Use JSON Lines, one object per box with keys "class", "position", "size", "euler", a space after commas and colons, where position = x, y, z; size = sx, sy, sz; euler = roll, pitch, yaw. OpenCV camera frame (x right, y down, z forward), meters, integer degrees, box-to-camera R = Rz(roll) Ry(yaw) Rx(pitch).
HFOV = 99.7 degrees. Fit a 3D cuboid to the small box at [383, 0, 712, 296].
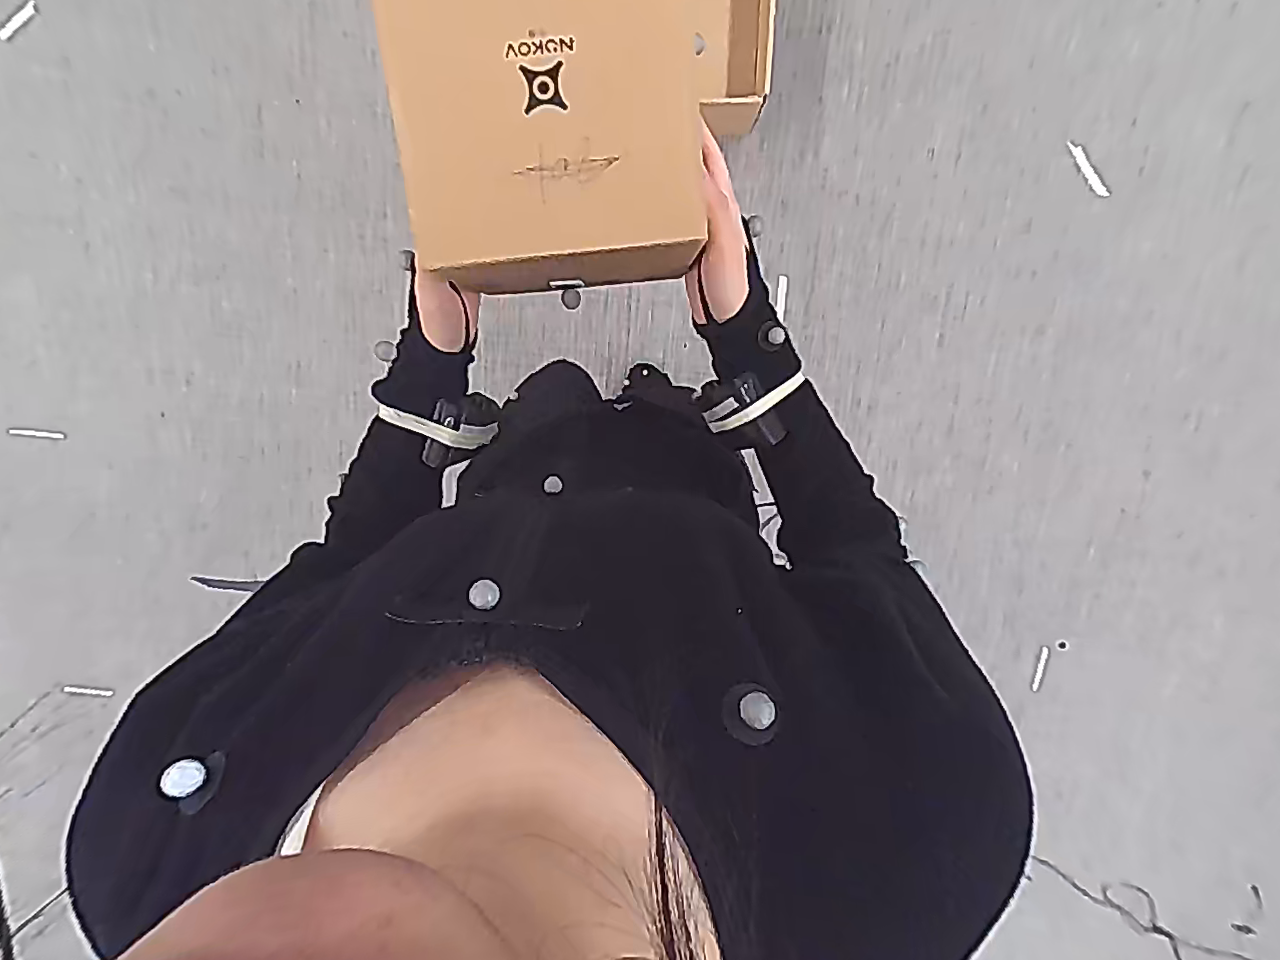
{"class": "small box", "position": [-0.049, -0.231, 0.367], "size": [0.168, 0.176, 0.179], "euler": [-6, 104, 1]}
